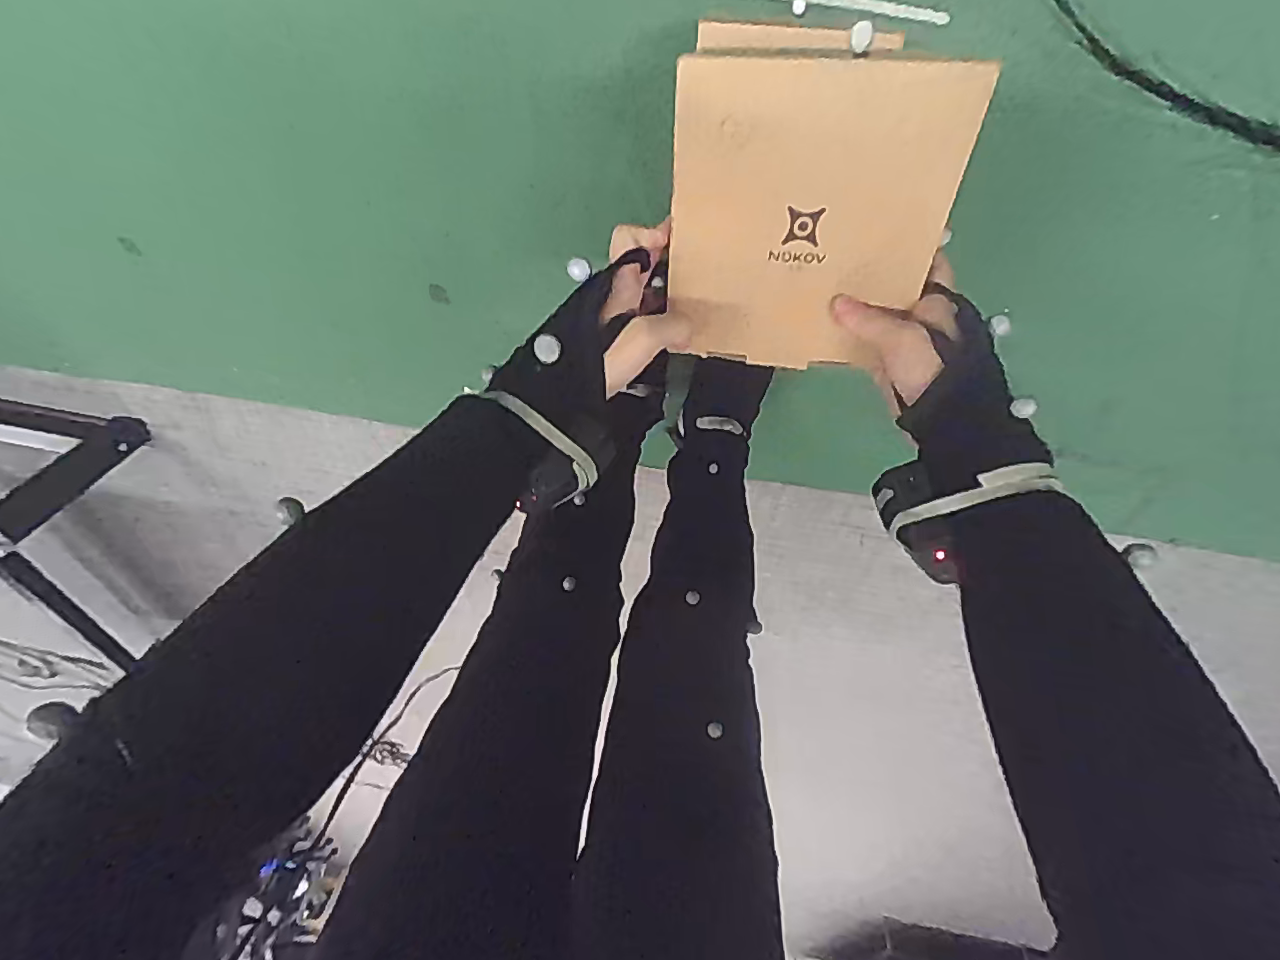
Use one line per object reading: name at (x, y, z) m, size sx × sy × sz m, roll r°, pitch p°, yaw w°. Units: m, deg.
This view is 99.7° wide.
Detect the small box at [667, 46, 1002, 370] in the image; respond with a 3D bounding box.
small box at (0.114, -0.204, 0.396) m, size 0.168 × 0.176 × 0.179 m, roll 7°, pitch 131°, yaw 6°
